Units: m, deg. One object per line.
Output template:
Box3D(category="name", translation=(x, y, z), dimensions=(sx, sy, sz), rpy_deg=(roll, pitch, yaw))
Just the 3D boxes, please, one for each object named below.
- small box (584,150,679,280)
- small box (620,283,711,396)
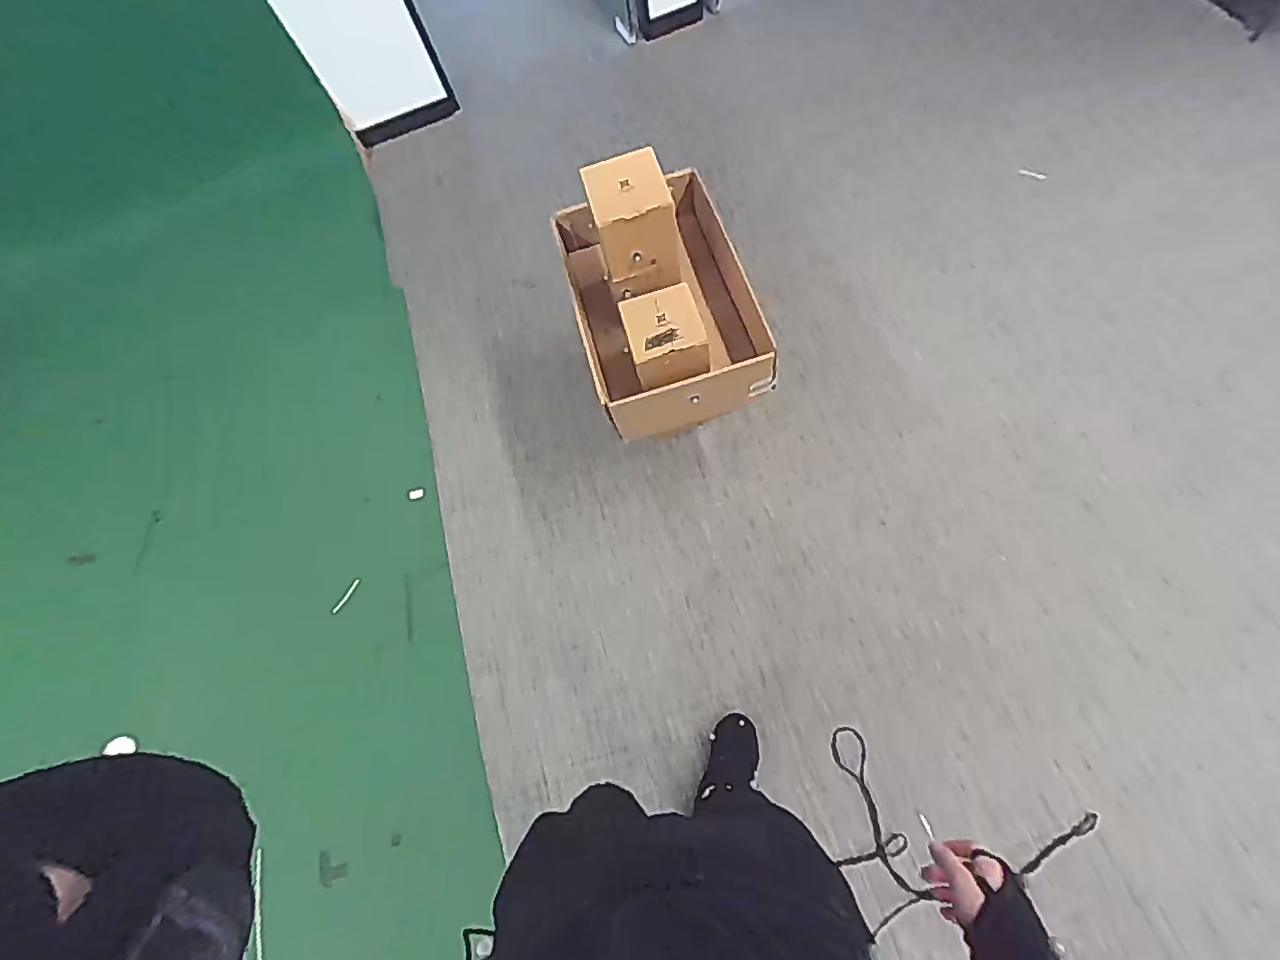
Box3D(category="small box", translation=(-0.014, -0.583, 1.204), dimensions=(0.168, 0.176, 0.179), rpy_deg=(-16, 68, 2))
Box3D(category="small box", translation=(0.063, -0.314, 1.255), dimensions=(0.168, 0.176, 0.179), rpy_deg=(-16, 65, 2))
